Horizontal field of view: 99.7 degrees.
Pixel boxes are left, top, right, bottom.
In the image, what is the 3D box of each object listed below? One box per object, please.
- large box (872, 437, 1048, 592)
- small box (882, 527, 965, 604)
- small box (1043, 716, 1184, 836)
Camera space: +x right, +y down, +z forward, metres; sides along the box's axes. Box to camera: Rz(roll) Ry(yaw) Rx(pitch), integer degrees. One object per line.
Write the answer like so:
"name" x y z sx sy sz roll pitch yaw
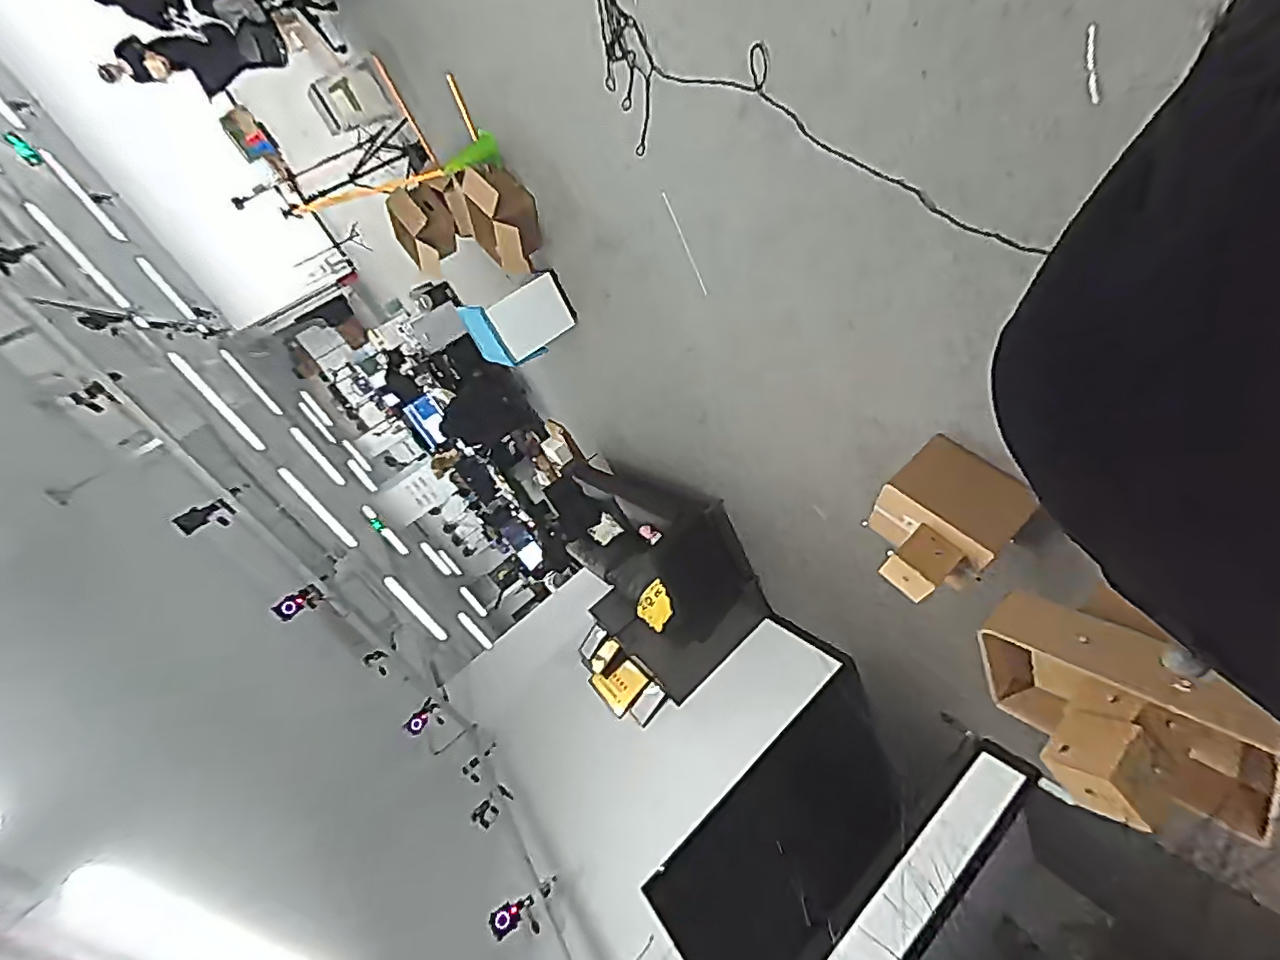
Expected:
"large box" 1.139 0.122 1.963 0.408 0.320 0.320 43 161 30
"small box" 0.986 0.297 1.879 0.168 0.176 0.179 44 162 26
"small box" 1.168 0.717 1.337 0.168 0.176 0.179 51 162 0
